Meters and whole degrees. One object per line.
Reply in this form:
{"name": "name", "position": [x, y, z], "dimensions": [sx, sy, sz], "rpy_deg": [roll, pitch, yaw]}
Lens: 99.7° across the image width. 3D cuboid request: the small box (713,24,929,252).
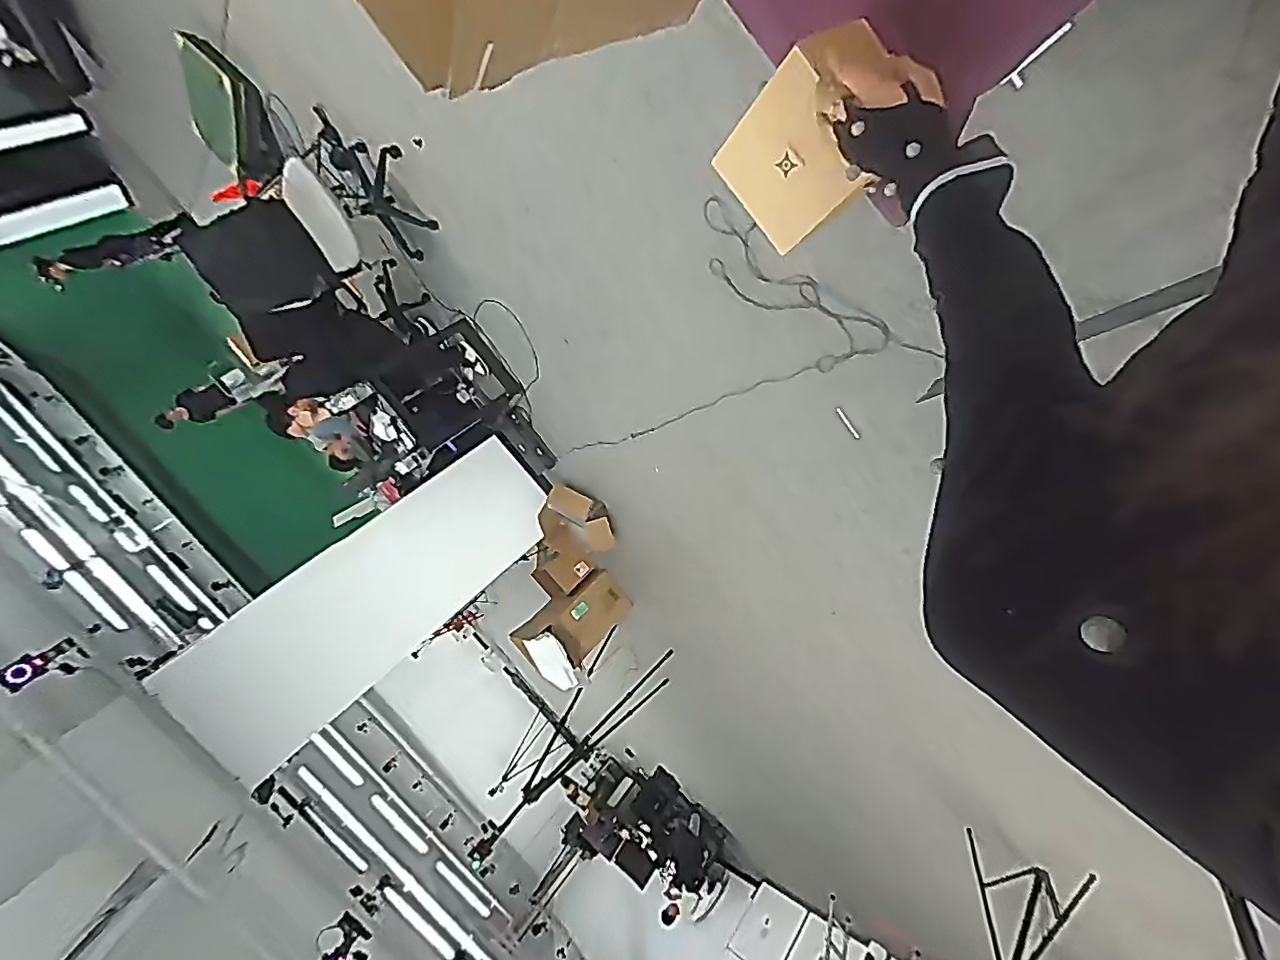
{"name": "small box", "position": [0.238, -0.446, 0.715], "dimensions": [0.168, 0.176, 0.179], "rpy_deg": [50, 149, -5]}
